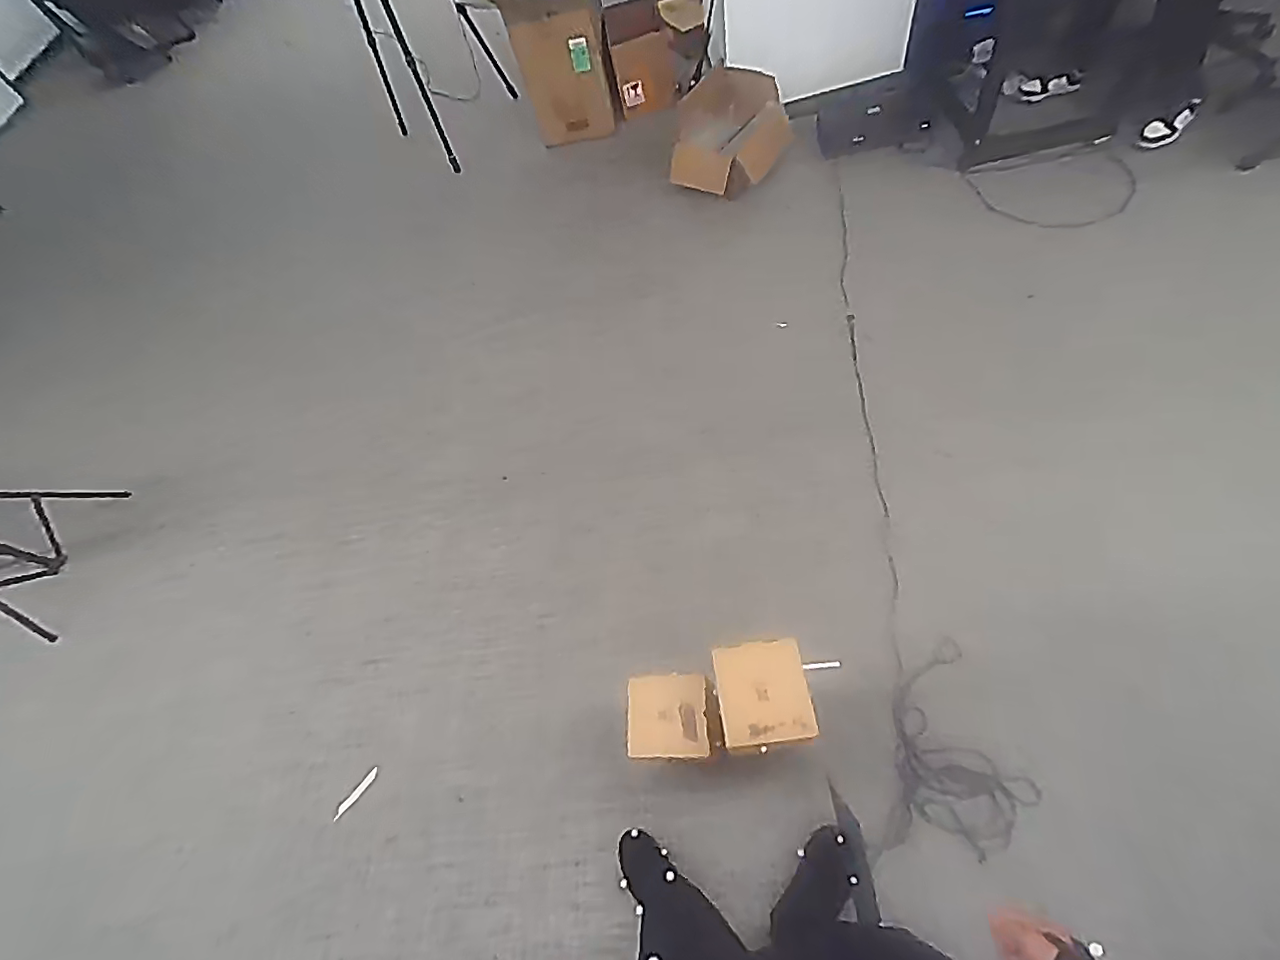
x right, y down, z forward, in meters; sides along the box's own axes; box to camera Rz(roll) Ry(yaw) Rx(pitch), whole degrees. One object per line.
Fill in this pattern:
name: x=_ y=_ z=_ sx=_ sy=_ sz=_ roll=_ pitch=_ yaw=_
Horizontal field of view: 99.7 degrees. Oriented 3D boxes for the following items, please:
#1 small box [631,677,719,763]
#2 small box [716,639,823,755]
small box: x=0.084 y=0.544 z=1.221 sx=0.179 sy=0.176 sz=0.168 roll=-7 pitch=60 yaw=12
small box: x=0.247 y=0.426 z=1.053 sx=0.168 sy=0.176 sz=0.179 roll=-11 pitch=59 yaw=8
